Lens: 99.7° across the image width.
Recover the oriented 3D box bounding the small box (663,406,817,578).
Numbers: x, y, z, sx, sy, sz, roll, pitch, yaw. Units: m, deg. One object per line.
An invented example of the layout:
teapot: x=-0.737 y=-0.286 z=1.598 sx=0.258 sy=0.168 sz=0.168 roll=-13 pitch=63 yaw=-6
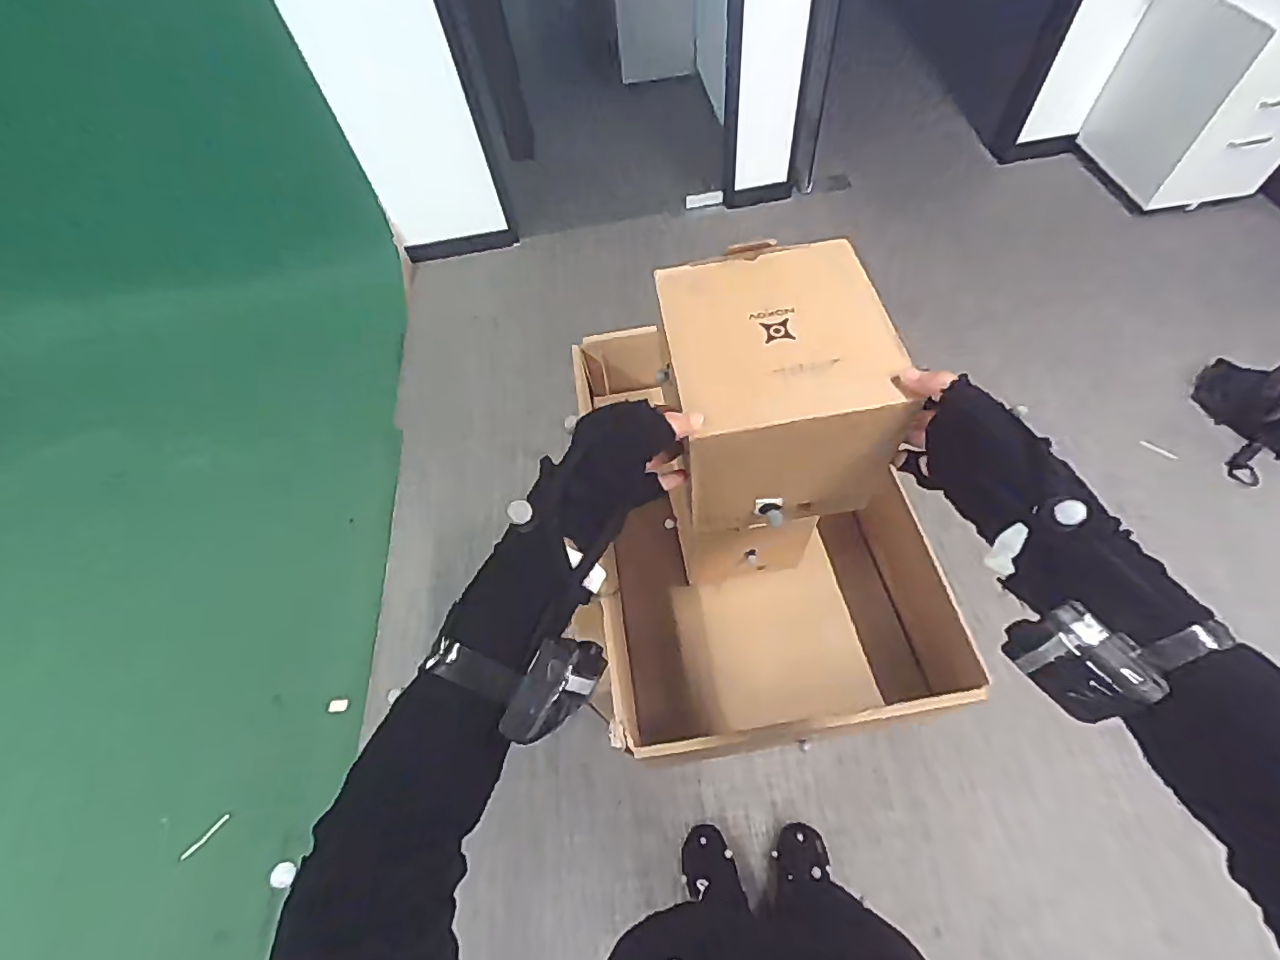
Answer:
small box: x=0.130 y=0.026 z=0.759 sx=0.168 sy=0.176 sz=0.179 roll=-10 pitch=58 yaw=-1
